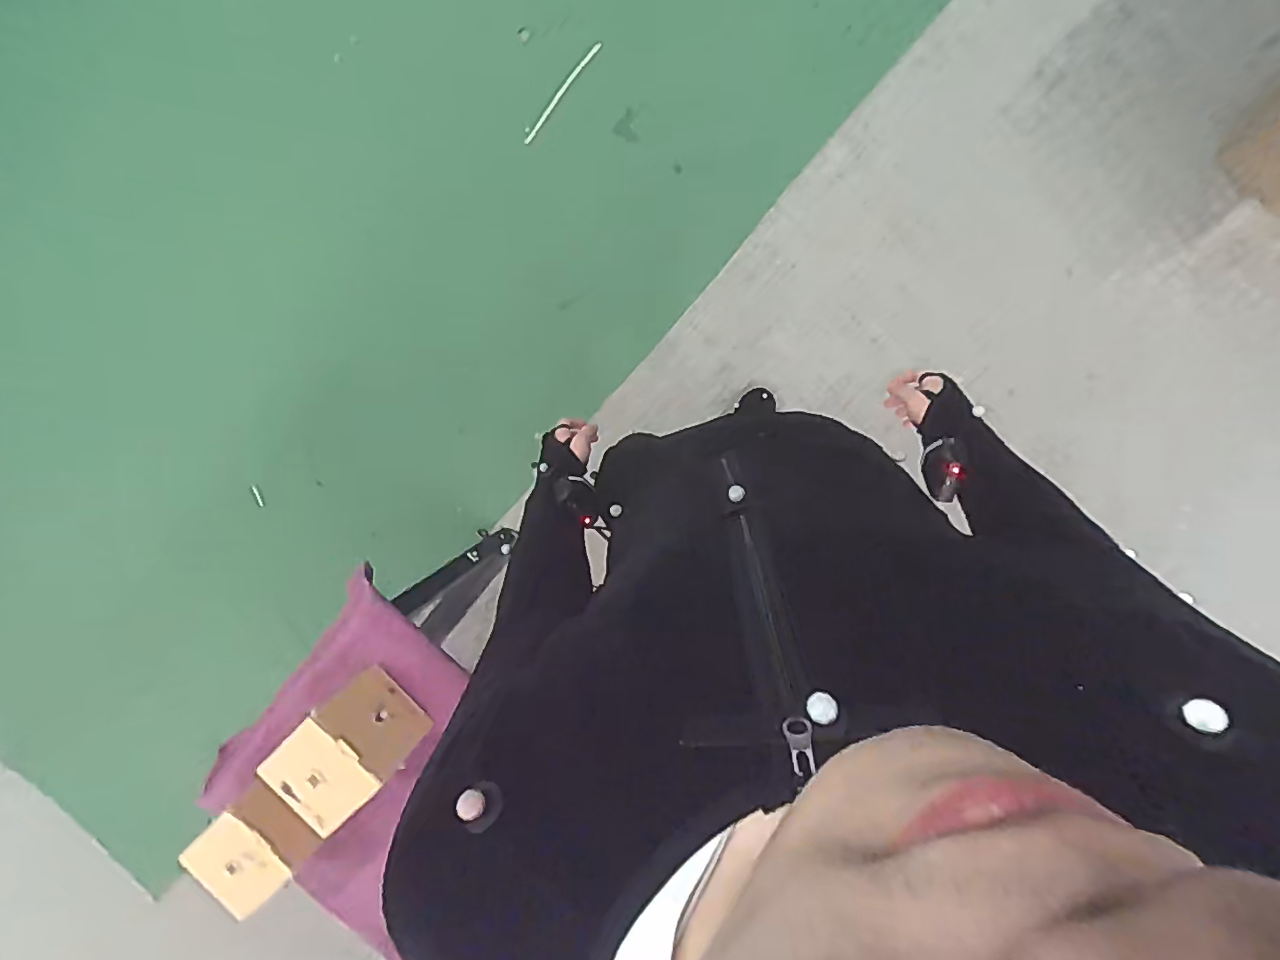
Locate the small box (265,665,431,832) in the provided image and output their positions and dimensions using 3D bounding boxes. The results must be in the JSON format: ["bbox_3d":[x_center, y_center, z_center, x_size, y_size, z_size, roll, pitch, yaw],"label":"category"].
[{"bbox_3d":[-0.513,0.475,0.981,0.179,0.176,0.168,-43,91,15],"label":"small box"}]

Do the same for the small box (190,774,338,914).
[{"bbox_3d":[-0.698,0.668,1.049,0.179,0.176,0.168,-43,92,13],"label":"small box"}]
